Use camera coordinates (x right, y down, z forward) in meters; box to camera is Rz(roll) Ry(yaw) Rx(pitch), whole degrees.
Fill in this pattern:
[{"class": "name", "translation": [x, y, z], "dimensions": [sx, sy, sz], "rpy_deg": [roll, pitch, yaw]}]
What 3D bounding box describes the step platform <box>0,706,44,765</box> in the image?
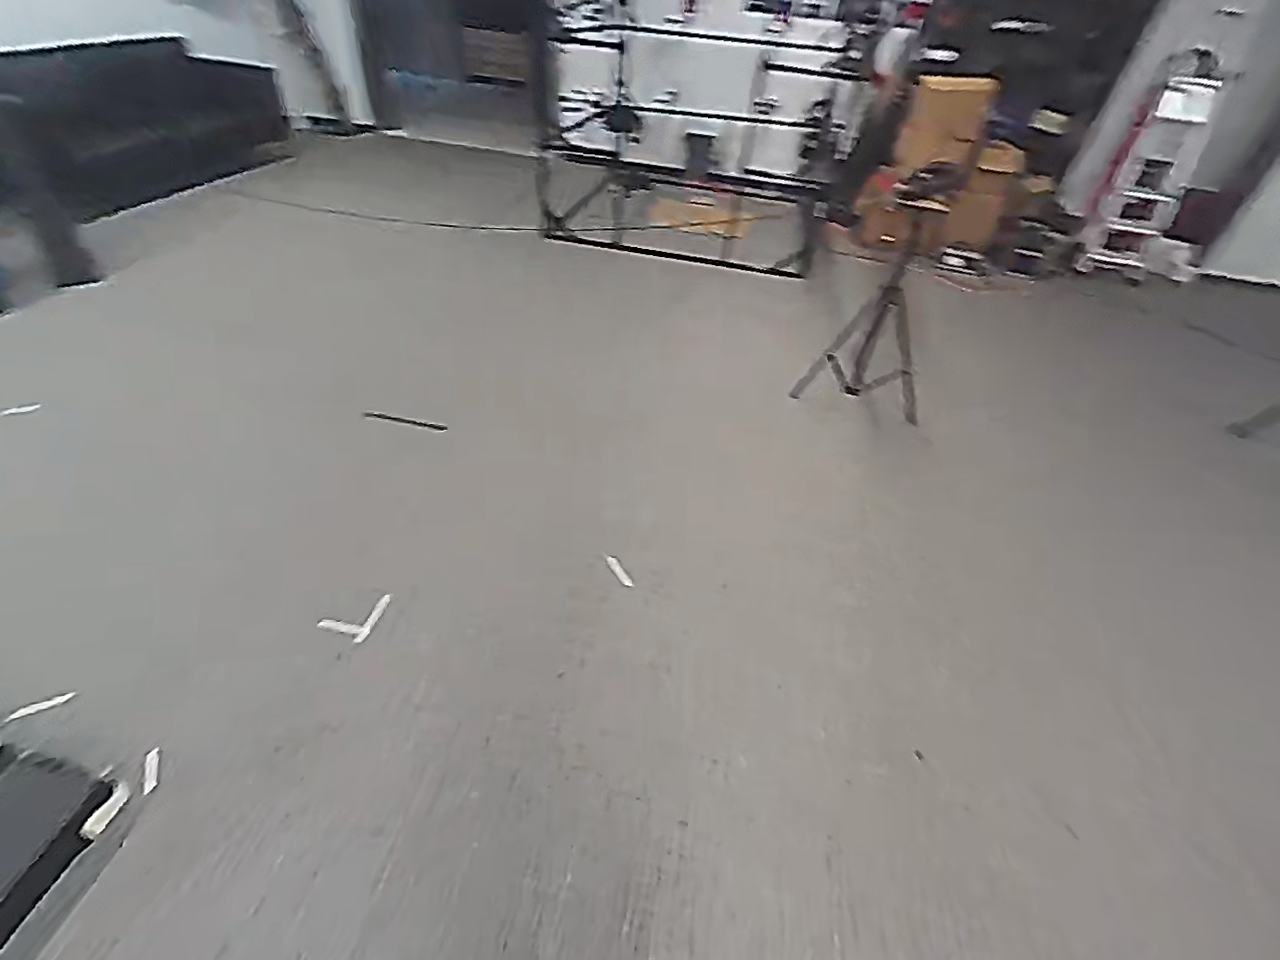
[{"class": "step platform", "translation": [-1.673, 0.757, 1.068], "dimensions": [0.286, 0.204, 0.684], "rpy_deg": [11, 41, 5]}]
